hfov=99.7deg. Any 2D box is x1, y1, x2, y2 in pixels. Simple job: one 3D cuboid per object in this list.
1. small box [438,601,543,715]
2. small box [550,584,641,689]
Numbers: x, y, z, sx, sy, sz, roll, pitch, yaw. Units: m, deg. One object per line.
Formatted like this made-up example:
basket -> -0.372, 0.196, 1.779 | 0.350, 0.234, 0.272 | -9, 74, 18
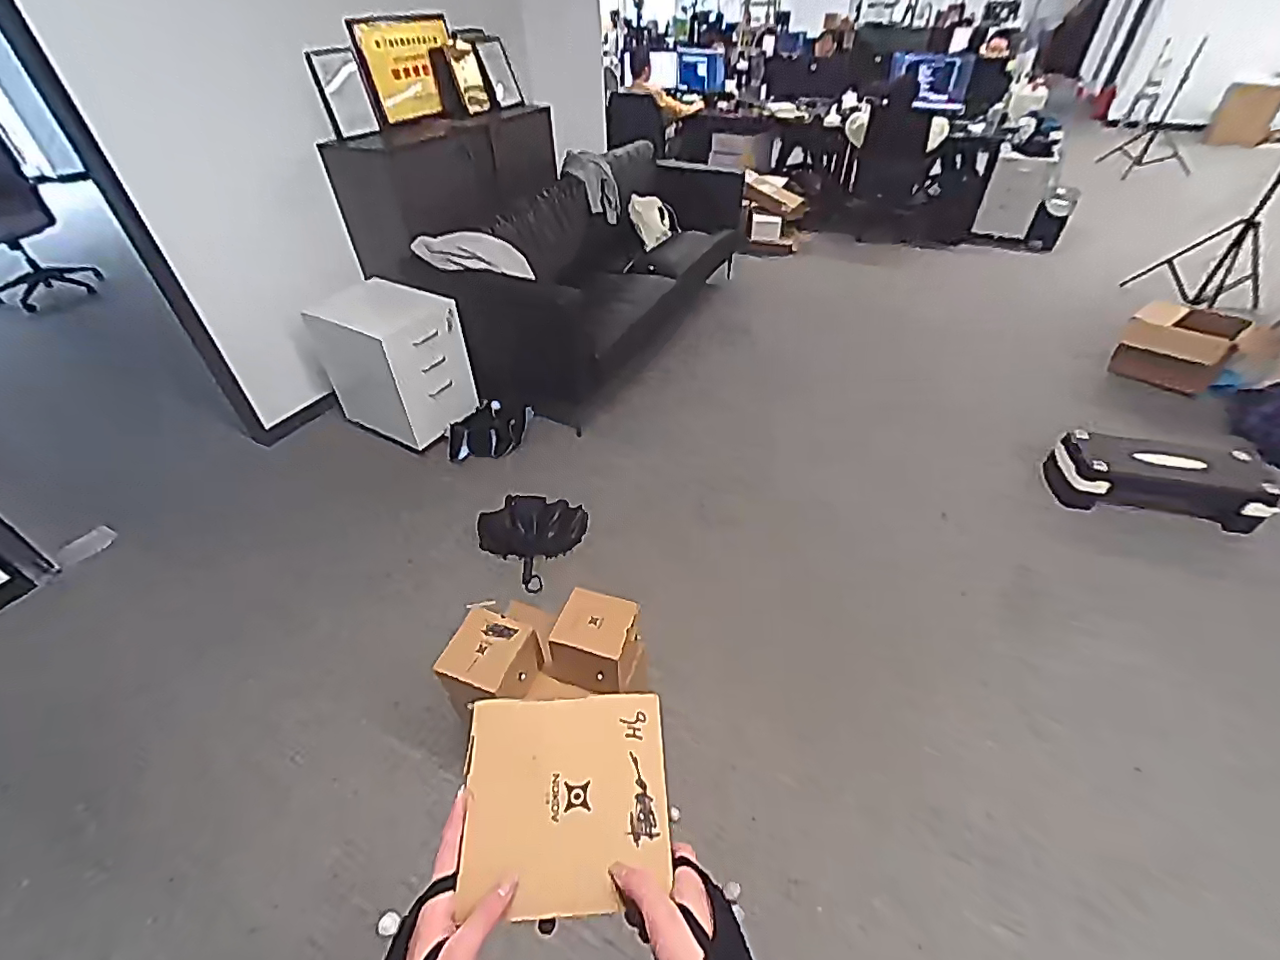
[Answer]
small box -> -0.347, 0.428, 1.299 | 0.168, 0.176, 0.179 | 15, 48, 17
small box -> -0.101, 0.389, 1.337 | 0.179, 0.176, 0.168 | 11, 40, 14
